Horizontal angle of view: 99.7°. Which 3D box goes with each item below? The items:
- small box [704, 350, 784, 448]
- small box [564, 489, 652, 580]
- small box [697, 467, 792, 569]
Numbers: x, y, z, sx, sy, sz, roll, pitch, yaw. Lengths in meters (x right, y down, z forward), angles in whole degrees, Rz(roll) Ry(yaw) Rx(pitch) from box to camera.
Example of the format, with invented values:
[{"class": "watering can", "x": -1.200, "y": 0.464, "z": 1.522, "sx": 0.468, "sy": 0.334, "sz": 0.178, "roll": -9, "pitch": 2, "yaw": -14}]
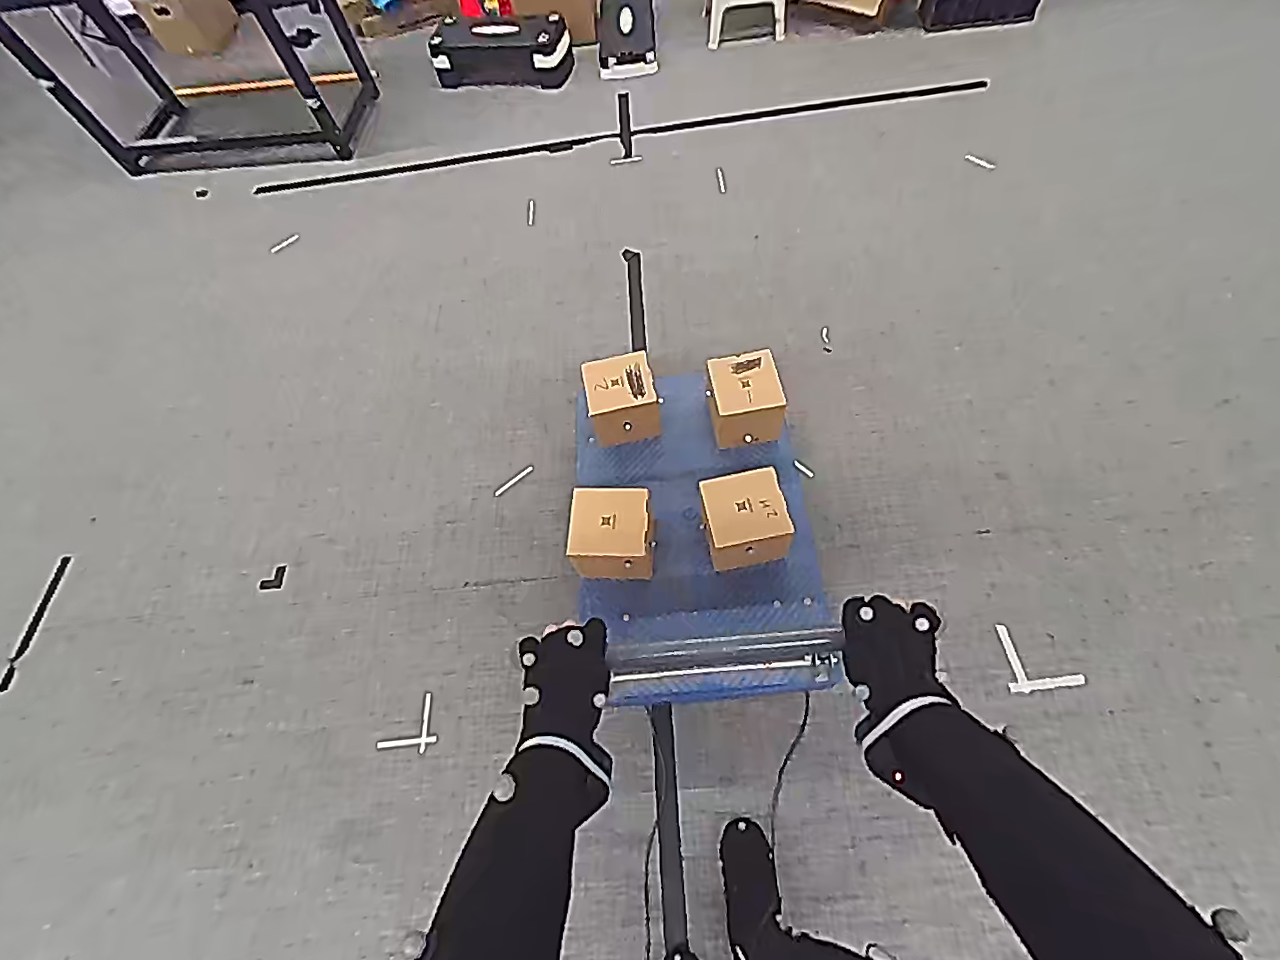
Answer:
[{"class": "small box", "x": 0.262, "y": -0.206, "z": 1.399, "sx": 0.168, "sy": 0.176, "sz": 0.179, "roll": -10, "pitch": 63, "yaw": 2}, {"class": "small box", "x": -0.067, "y": 0.131, "z": 1.269, "sx": 0.179, "sy": 0.176, "sz": 0.168, "roll": 0, "pitch": 63, "yaw": 5}, {"class": "small box", "x": 0.235, "y": 0.095, "z": 1.250, "sx": 0.179, "sy": 0.176, "sz": 0.168, "roll": -12, "pitch": 63, "yaw": 1}]
